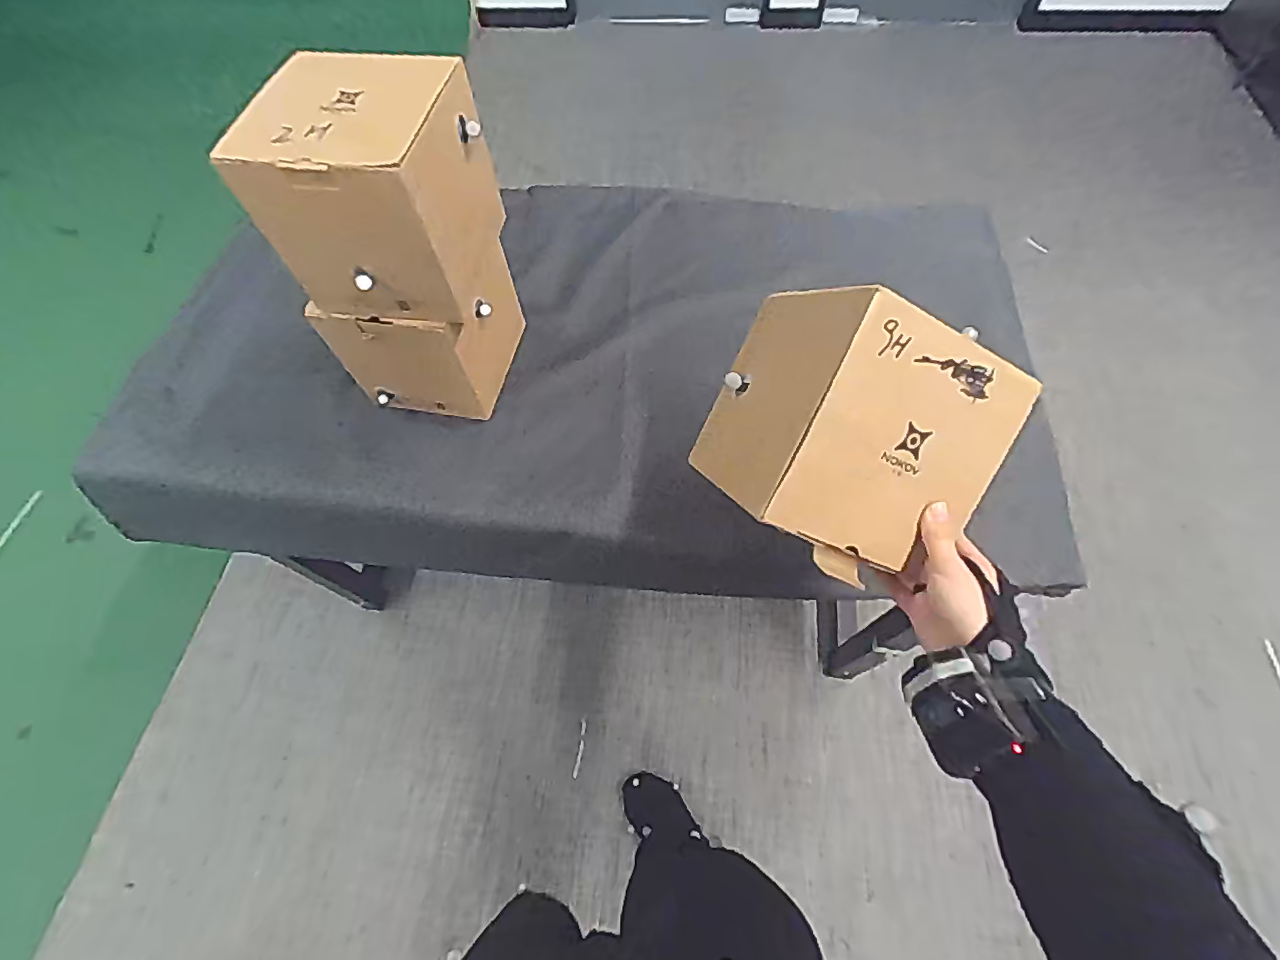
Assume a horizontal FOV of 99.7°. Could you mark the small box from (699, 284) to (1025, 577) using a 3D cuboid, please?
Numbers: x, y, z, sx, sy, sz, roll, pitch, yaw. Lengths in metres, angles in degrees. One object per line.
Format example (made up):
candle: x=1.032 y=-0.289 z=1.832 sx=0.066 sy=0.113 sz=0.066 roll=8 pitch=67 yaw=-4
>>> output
small box: x=0.169 y=-0.048 z=0.475 sx=0.168 sy=0.176 sz=0.179 roll=22 pitch=100 yaw=-18

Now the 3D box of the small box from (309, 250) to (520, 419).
small box: x=-0.267 y=-0.199 z=0.692 sx=0.168 sy=0.176 sz=0.179 roll=8 pitch=61 yaw=7

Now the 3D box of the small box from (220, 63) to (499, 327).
small box: x=-0.256 y=-0.284 z=0.550 sx=0.168 sy=0.176 sz=0.179 roll=5 pitch=61 yaw=6
